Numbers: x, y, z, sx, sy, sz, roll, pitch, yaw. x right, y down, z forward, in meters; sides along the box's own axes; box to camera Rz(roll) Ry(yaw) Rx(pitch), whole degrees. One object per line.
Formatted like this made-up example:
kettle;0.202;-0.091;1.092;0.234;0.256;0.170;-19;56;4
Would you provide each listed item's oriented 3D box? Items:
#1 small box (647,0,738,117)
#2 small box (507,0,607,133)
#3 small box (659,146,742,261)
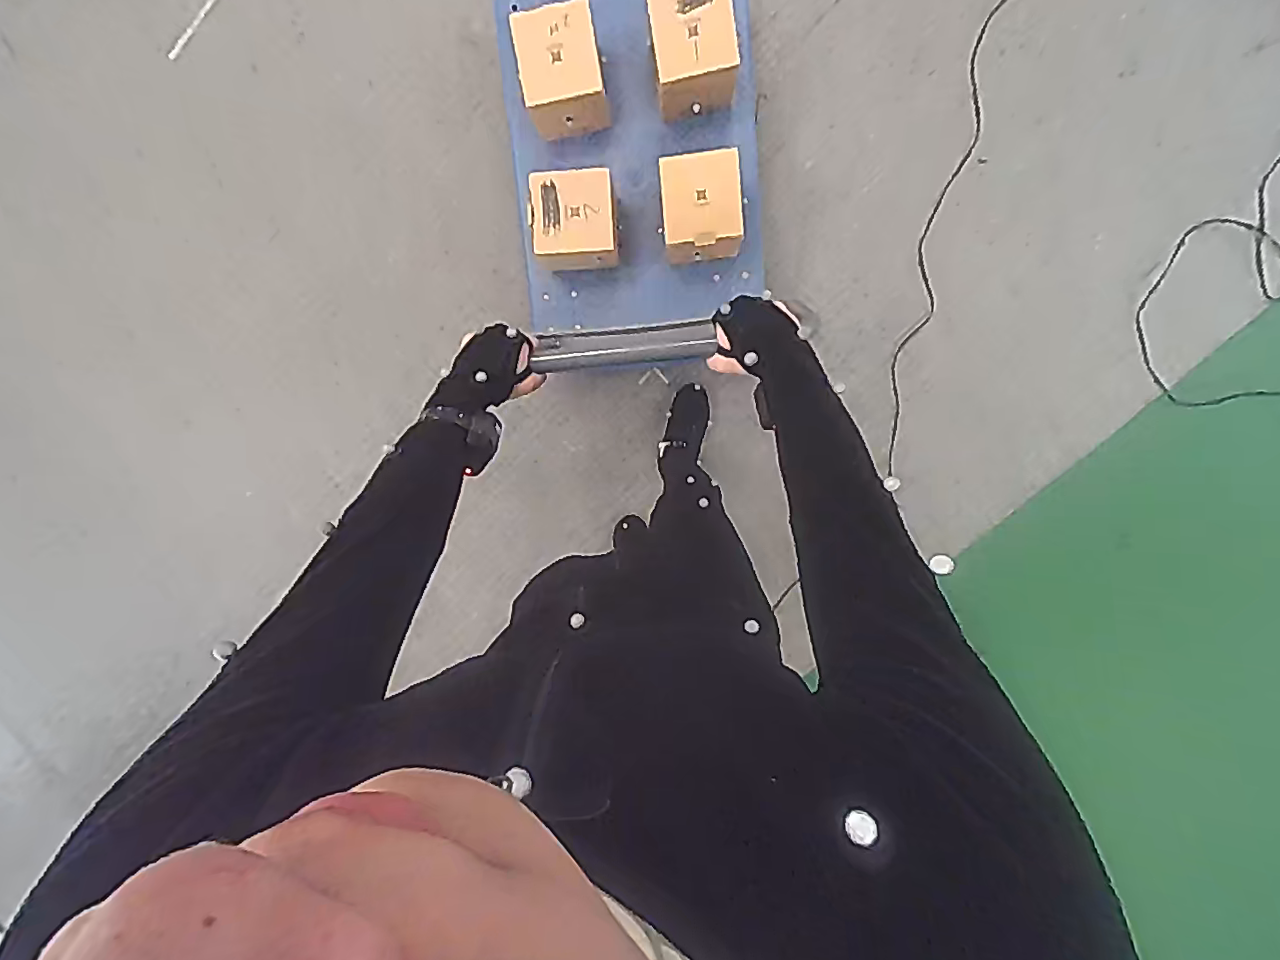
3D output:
small box;0.106;-0.916;1.147;0.168;0.176;0.179;-9;100;5
small box;-0.170;-0.881;1.168;0.168;0.176;0.179;-9;100;4
small box;0.129;-0.605;1.202;0.168;0.176;0.179;-5;100;4
